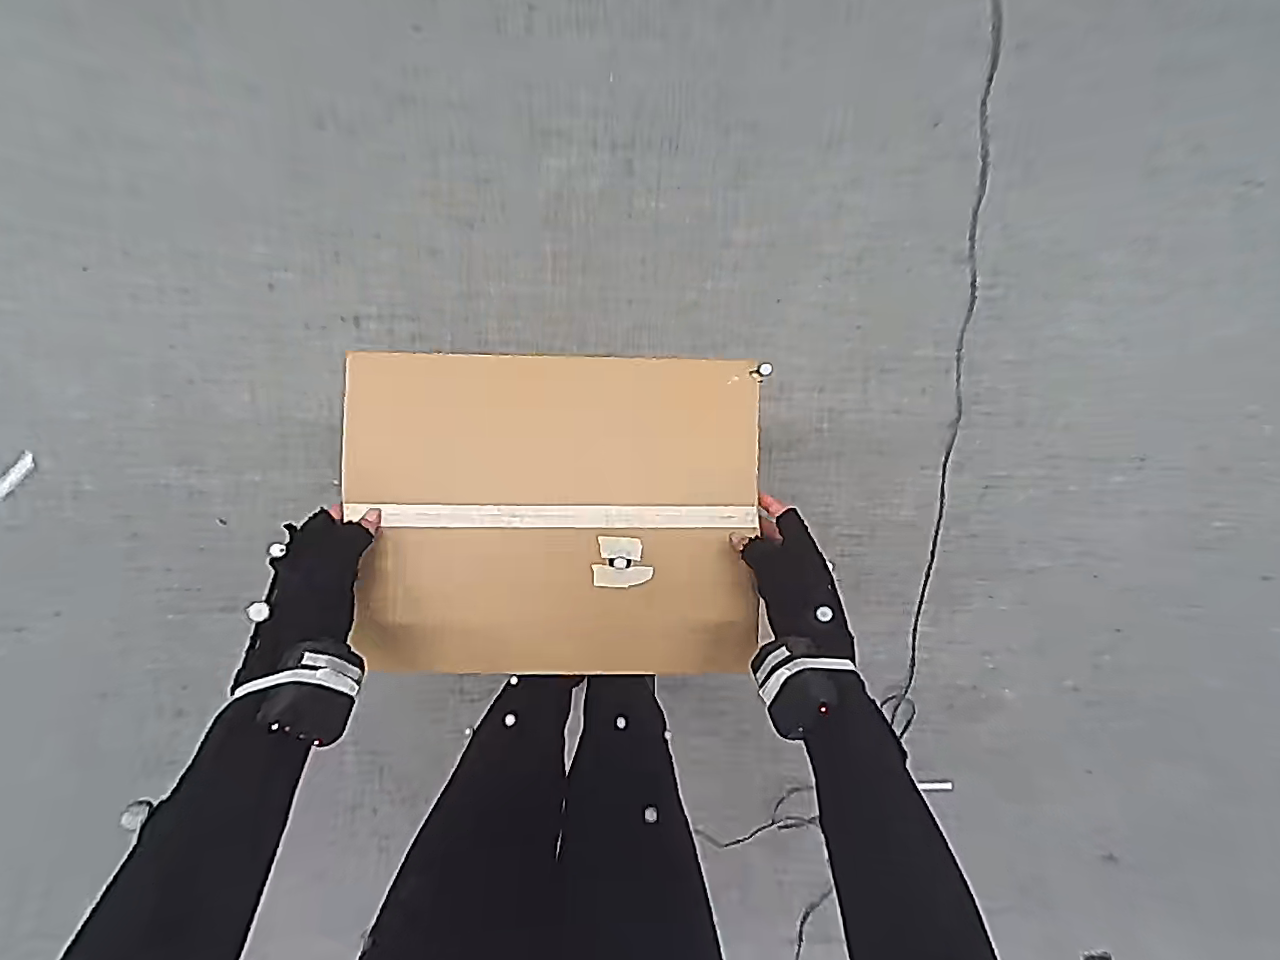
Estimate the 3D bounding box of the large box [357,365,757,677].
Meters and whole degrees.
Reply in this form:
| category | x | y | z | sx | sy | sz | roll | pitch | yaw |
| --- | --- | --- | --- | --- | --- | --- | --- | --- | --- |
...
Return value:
| category | x | y | z | sx | sy | sz | roll | pitch | yaw |
| --- | --- | --- | --- | --- | --- | --- | --- | --- | --- |
| large box | -0.089 | 0.044 | 0.691 | 0.408 | 0.320 | 0.320 | 1 | 89 | -3 |
